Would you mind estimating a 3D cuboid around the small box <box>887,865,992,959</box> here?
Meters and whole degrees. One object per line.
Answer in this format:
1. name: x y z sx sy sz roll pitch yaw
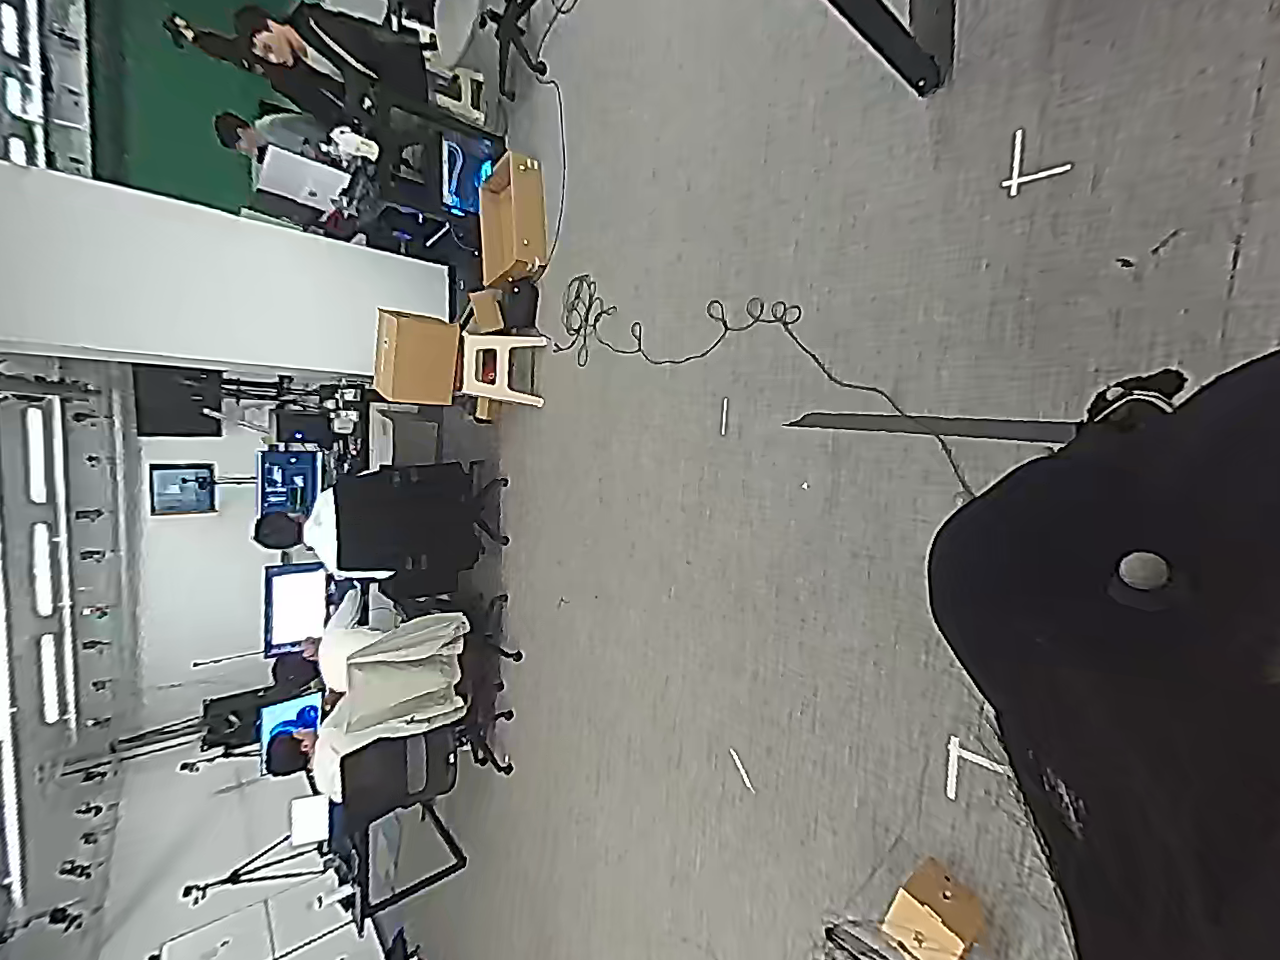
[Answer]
1. small box: 0.784 1.163 1.410 0.168 0.176 0.179 30 113 46
